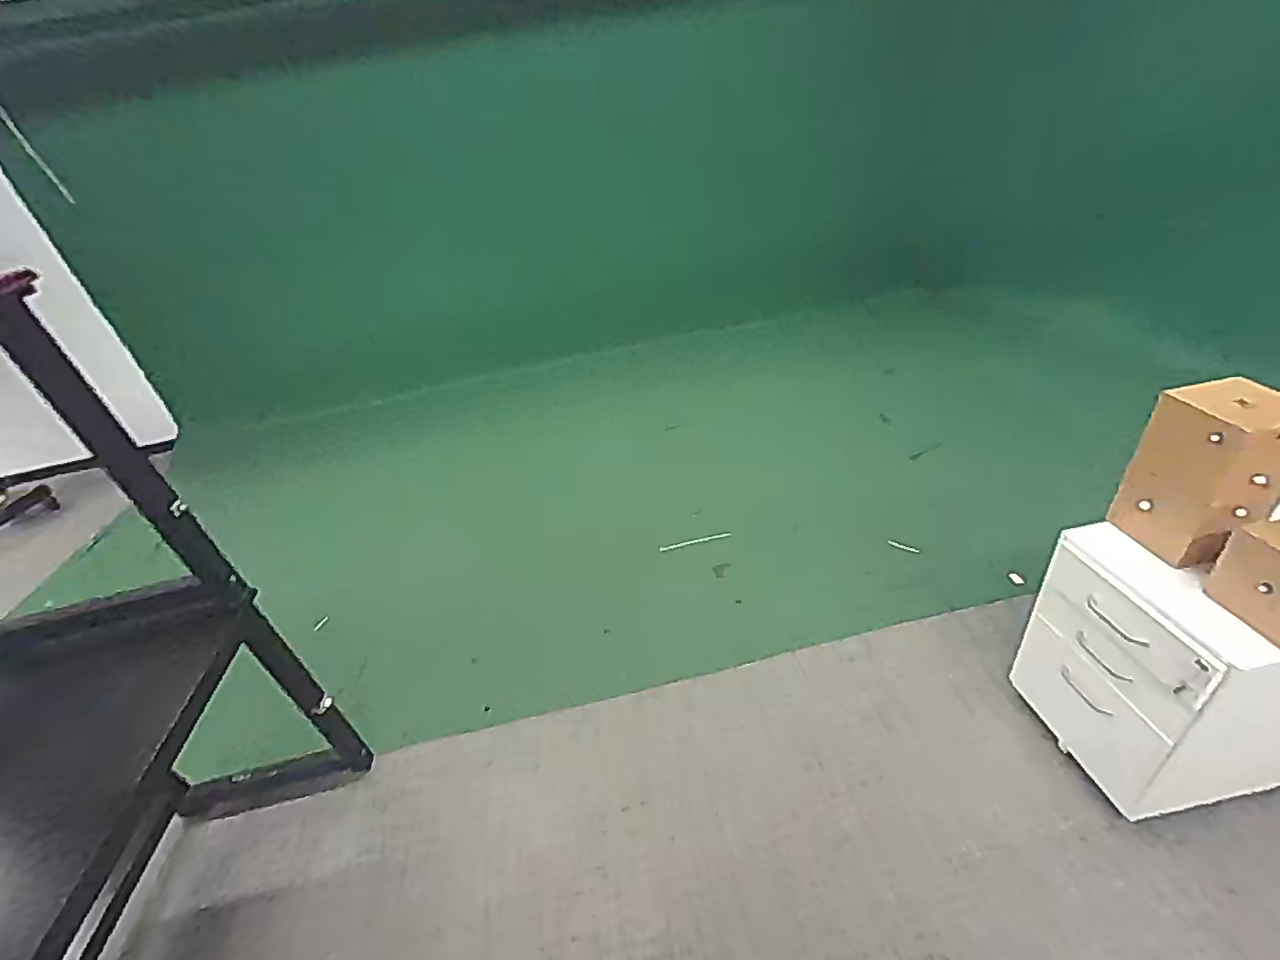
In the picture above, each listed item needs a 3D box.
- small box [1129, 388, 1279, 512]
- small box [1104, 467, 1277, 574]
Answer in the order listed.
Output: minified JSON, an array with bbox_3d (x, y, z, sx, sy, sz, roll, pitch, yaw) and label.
[{"bbox_3d":[1.142,-0.061,1.074,0.168,0.176,0.179,-10,35,-1],"label":"small box"},{"bbox_3d":[1.163,0.074,1.164,0.168,0.176,0.179,-12,33,-3],"label":"small box"}]
